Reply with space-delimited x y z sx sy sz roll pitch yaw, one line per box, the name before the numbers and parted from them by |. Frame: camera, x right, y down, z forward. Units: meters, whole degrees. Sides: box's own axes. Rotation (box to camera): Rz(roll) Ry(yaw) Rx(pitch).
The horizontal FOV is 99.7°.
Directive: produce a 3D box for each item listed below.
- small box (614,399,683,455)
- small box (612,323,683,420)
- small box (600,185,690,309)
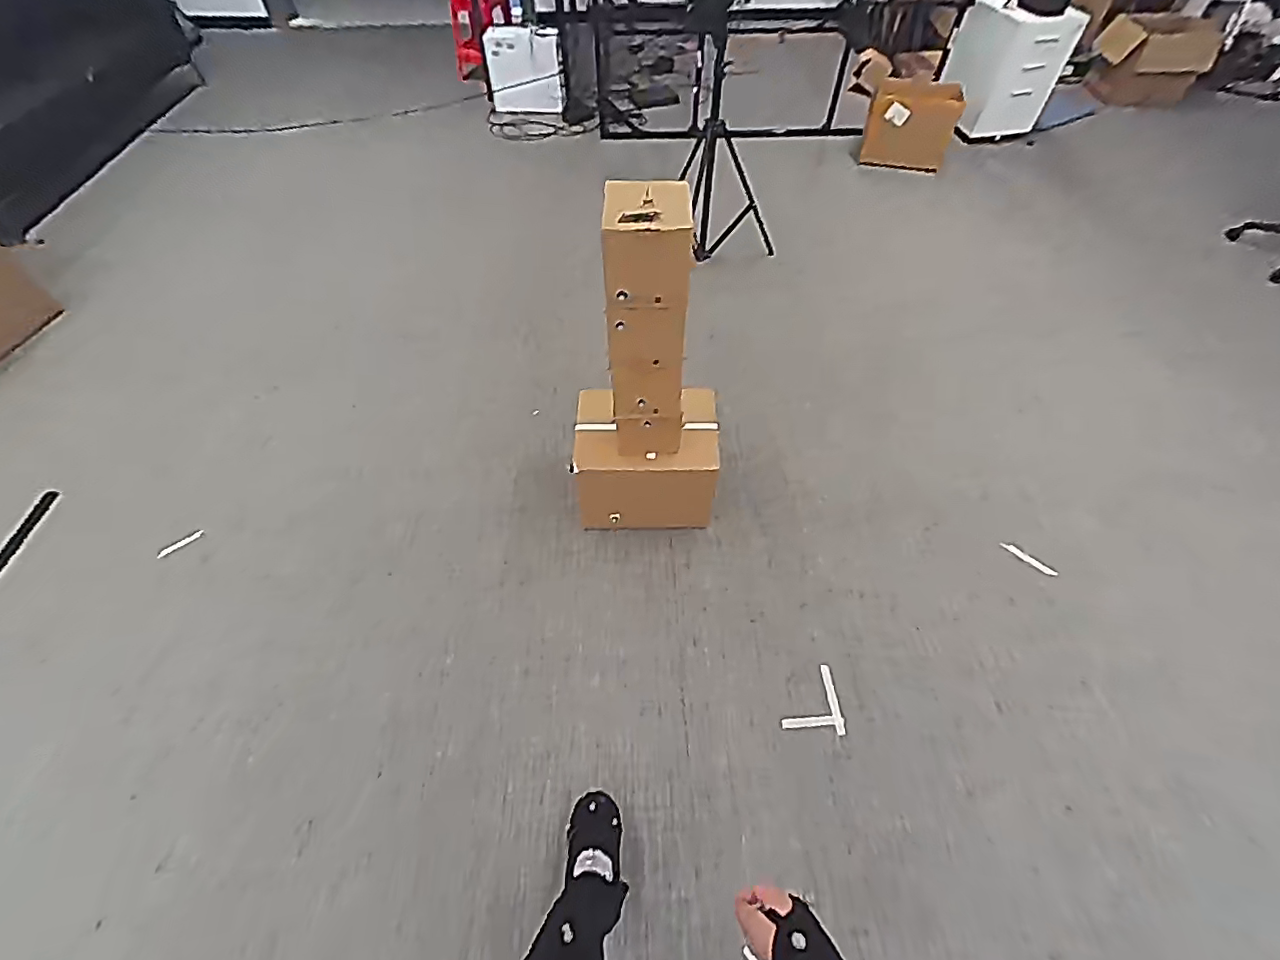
small box | 0.020 -0.180 1.476 0.179 0.176 0.168 -2 55 -2
small box | 0.015 -0.268 1.340 0.168 0.176 0.179 -2 55 -1
small box | 0.013 -0.457 1.071 0.168 0.176 0.179 0 54 0
